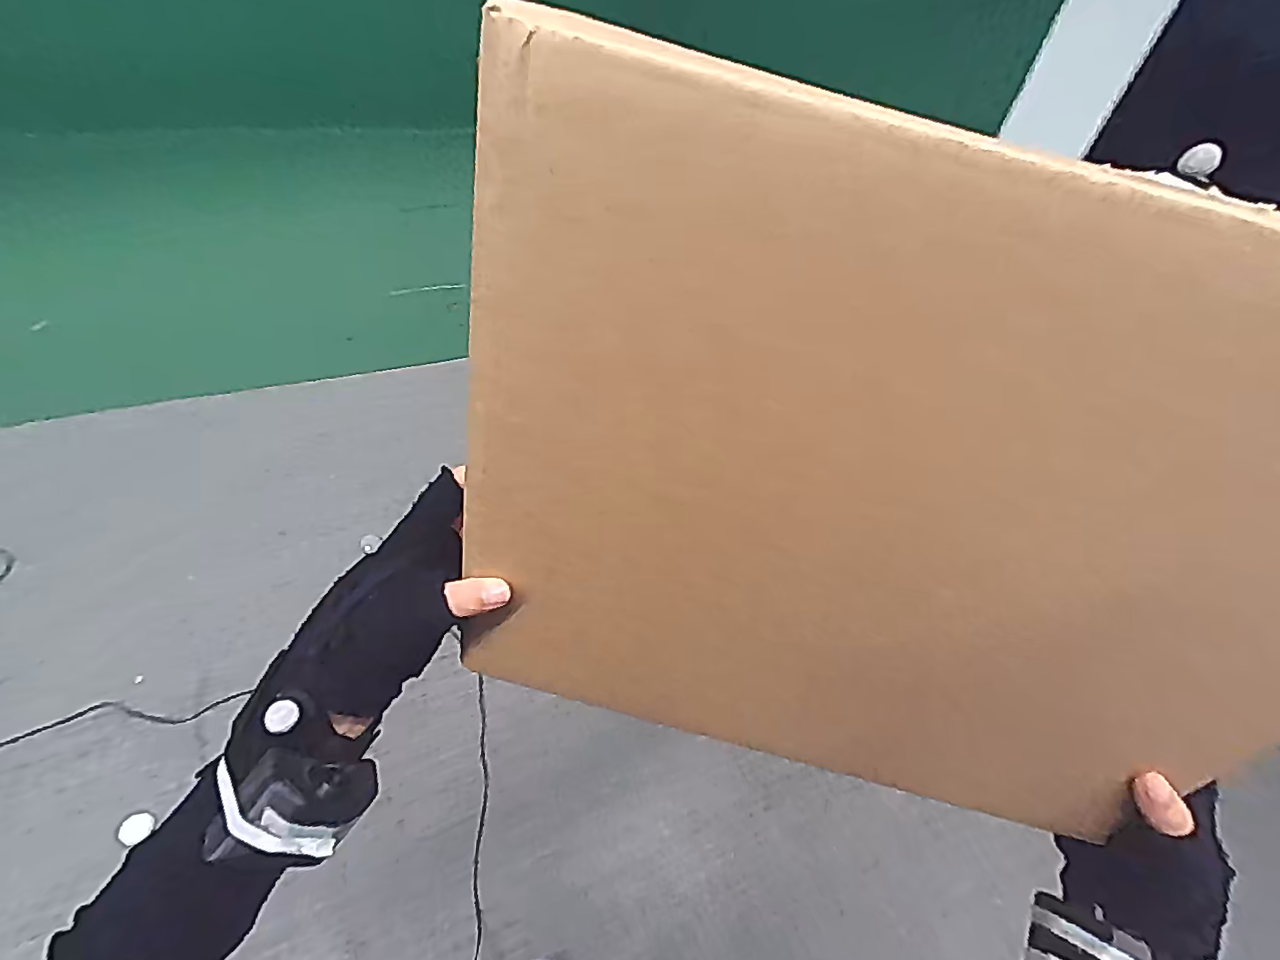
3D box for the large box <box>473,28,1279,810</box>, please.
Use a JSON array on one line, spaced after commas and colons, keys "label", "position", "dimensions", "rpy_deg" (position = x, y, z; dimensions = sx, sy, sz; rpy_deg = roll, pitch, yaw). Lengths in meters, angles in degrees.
[{"label": "large box", "position": [0.139, -0.040, 0.370], "dimensions": [0.408, 0.320, 0.320], "rpy_deg": [16, 36, -2]}]
